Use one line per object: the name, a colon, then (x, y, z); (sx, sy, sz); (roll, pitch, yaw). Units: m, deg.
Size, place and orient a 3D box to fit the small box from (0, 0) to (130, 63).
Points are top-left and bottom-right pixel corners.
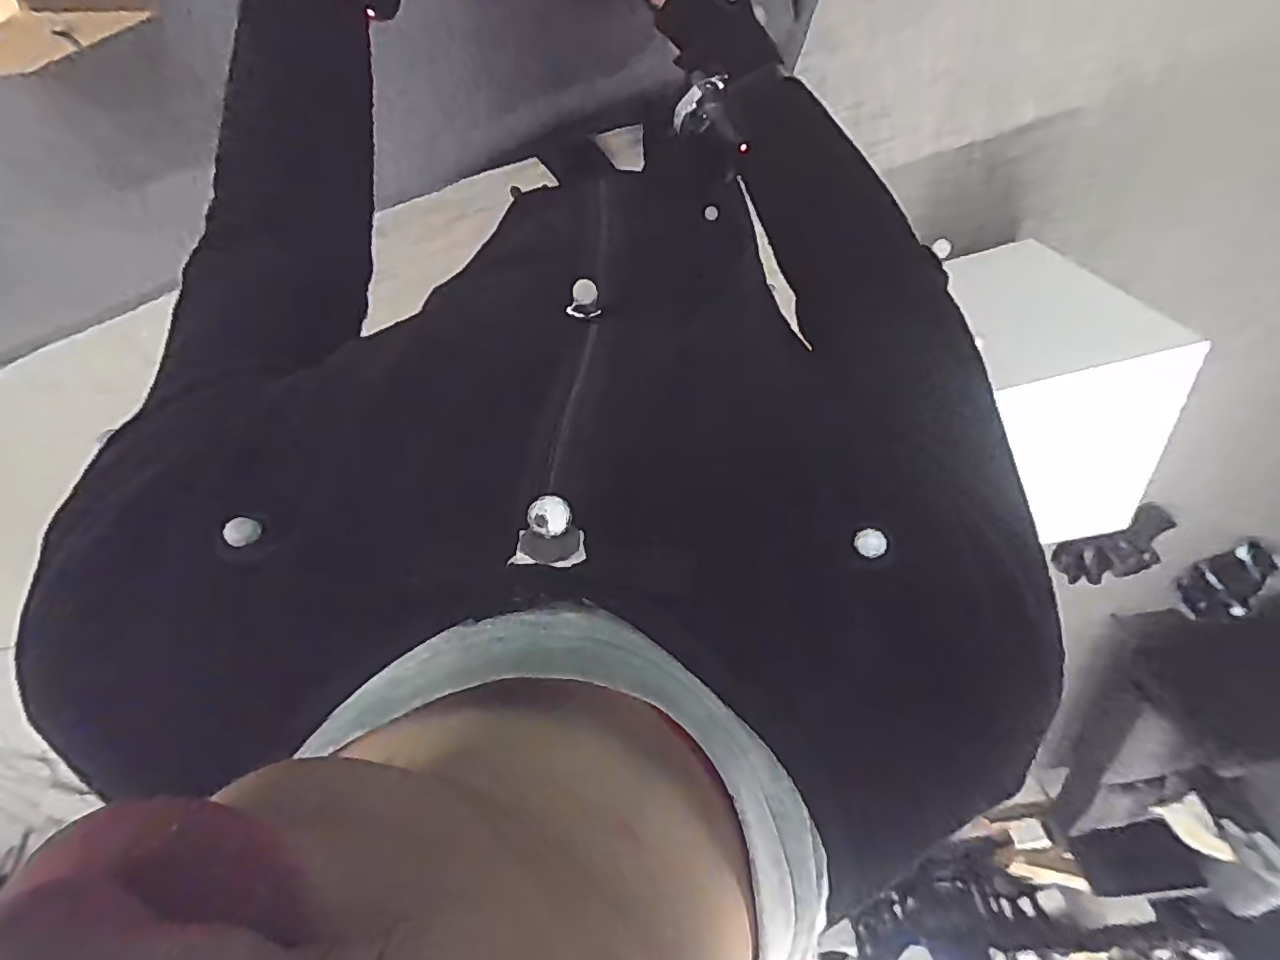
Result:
small box: (-0.560, -0.441, 0.413); (0.179, 0.176, 0.168); (-13, 128, 9)
